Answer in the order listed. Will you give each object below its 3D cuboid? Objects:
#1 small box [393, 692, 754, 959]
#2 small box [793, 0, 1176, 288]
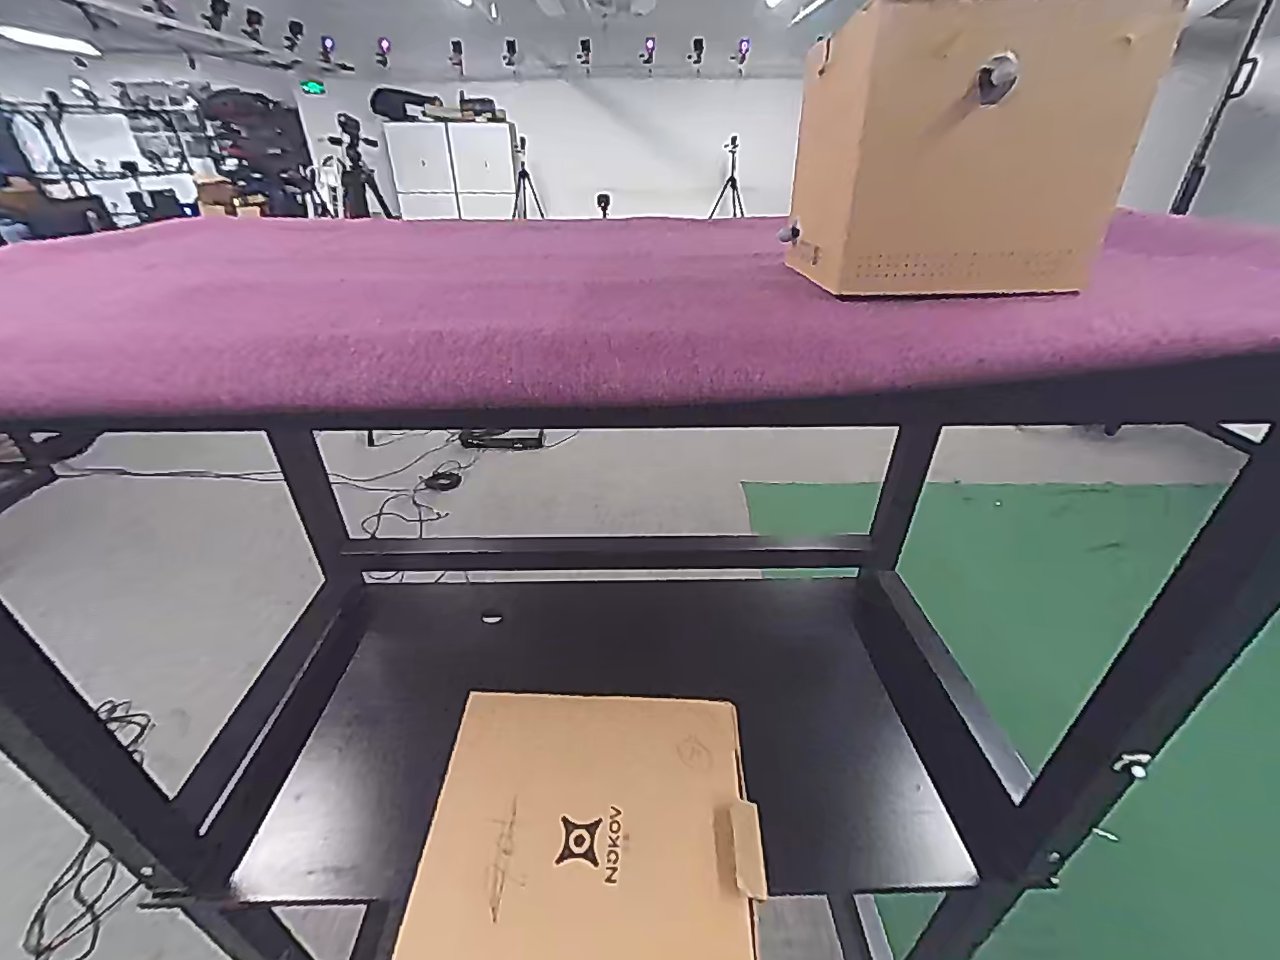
[{"bbox_3d":[-0.029,0.256,0.347,0.179,0.176,0.168,0,40,3],"label":"small box"},{"bbox_3d":[0.220,-0.243,0.405,0.179,0.176,0.168,0,30,1],"label":"small box"}]
